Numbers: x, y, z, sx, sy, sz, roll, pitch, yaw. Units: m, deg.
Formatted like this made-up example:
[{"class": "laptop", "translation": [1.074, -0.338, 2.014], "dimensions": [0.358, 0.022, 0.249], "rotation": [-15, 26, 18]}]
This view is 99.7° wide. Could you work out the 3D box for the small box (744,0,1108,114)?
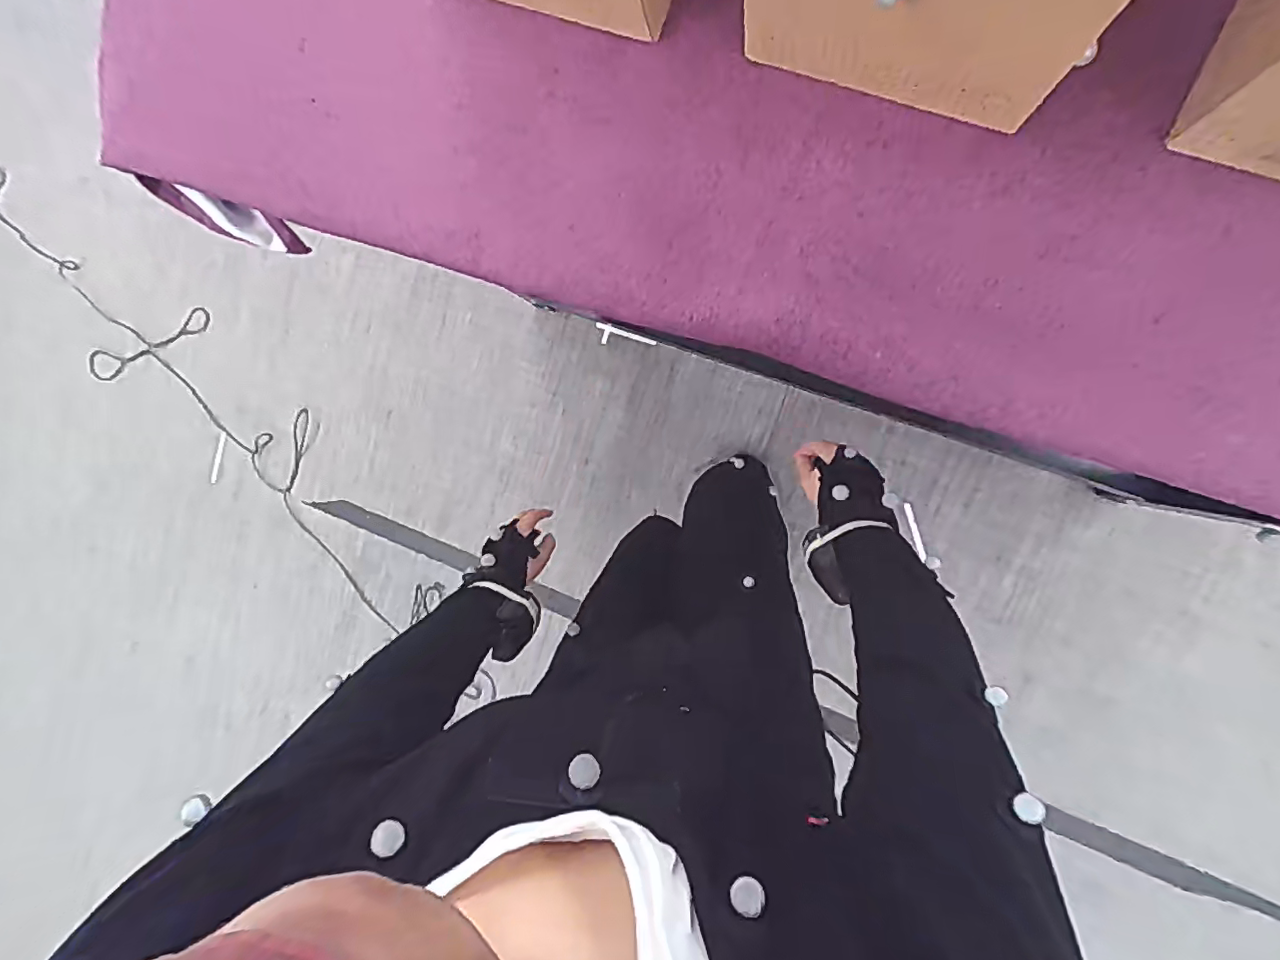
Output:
[{"class": "small box", "translation": [0.157, -0.310, 0.247], "dimensions": [0.179, 0.176, 0.168], "rotation": [23, 99, 10]}]
